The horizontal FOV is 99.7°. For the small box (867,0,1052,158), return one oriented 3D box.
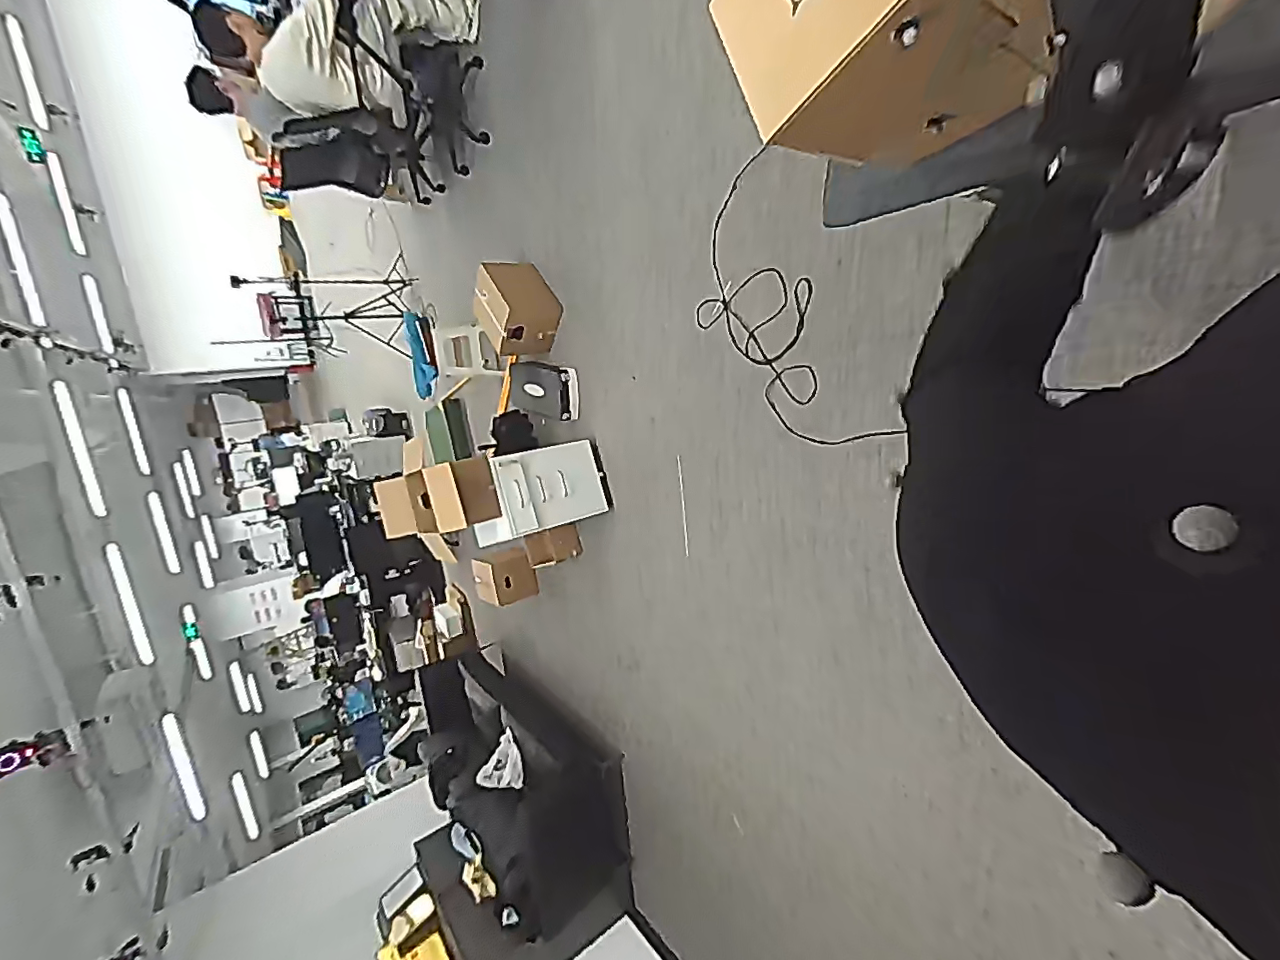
[{"bbox_3d":[0.332,-0.496,0.609,0.179,0.176,0.168,-6,98,55],"label":"small box"}]

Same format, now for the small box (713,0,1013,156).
[{"bbox_3d":[0.207,-0.446,0.517,0.179,0.176,0.168,-27,80,54],"label":"small box"}]
